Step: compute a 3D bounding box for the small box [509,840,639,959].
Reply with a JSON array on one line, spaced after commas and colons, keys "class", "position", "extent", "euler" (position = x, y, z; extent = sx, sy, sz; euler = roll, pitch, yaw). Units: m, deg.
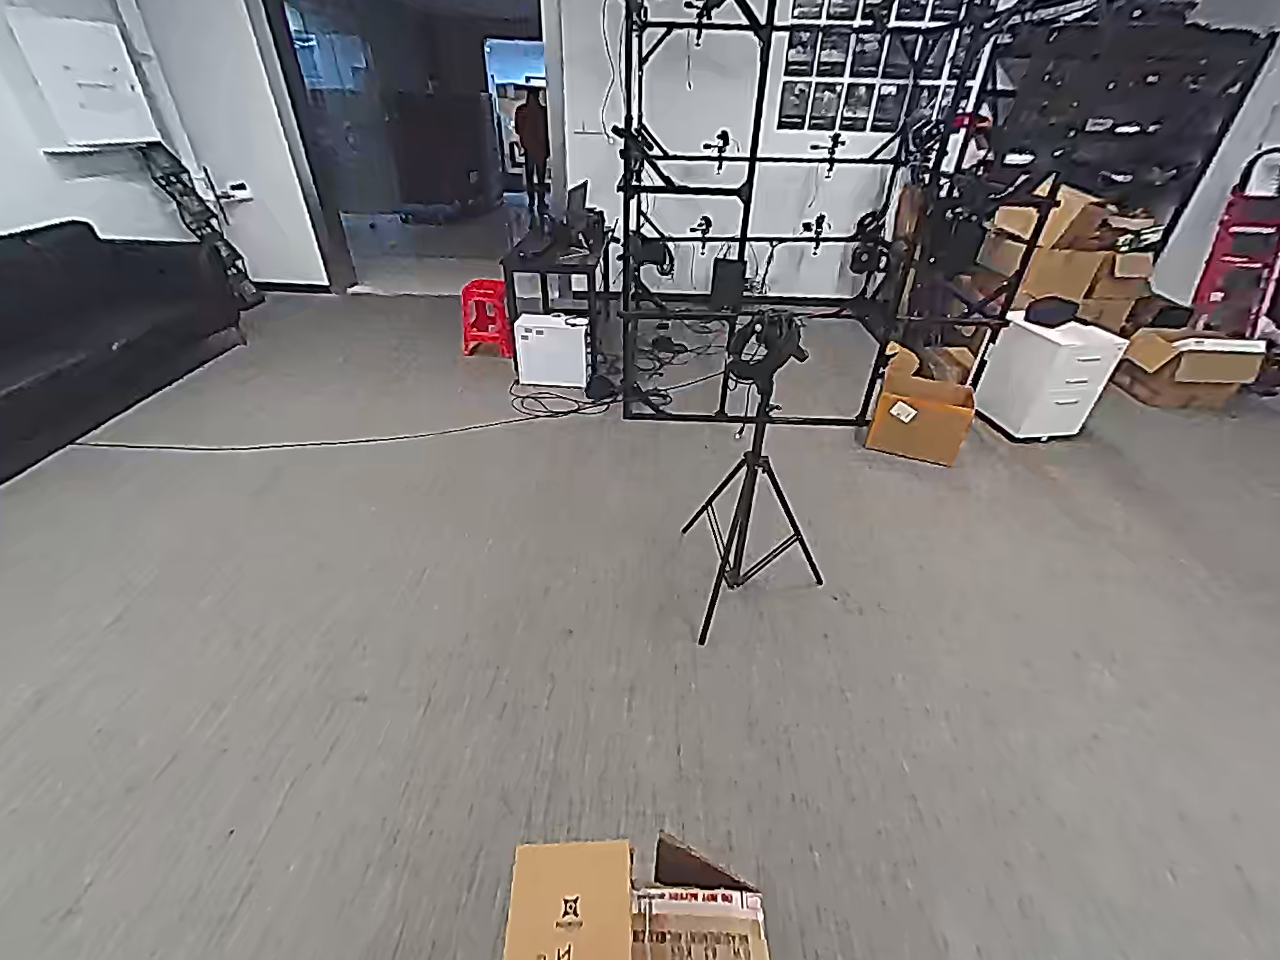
[{"class": "small box", "position": [-0.086, 0.646, 0.768], "extent": [0.168, 0.176, 0.179], "euler": [-3, 37, -1]}]
